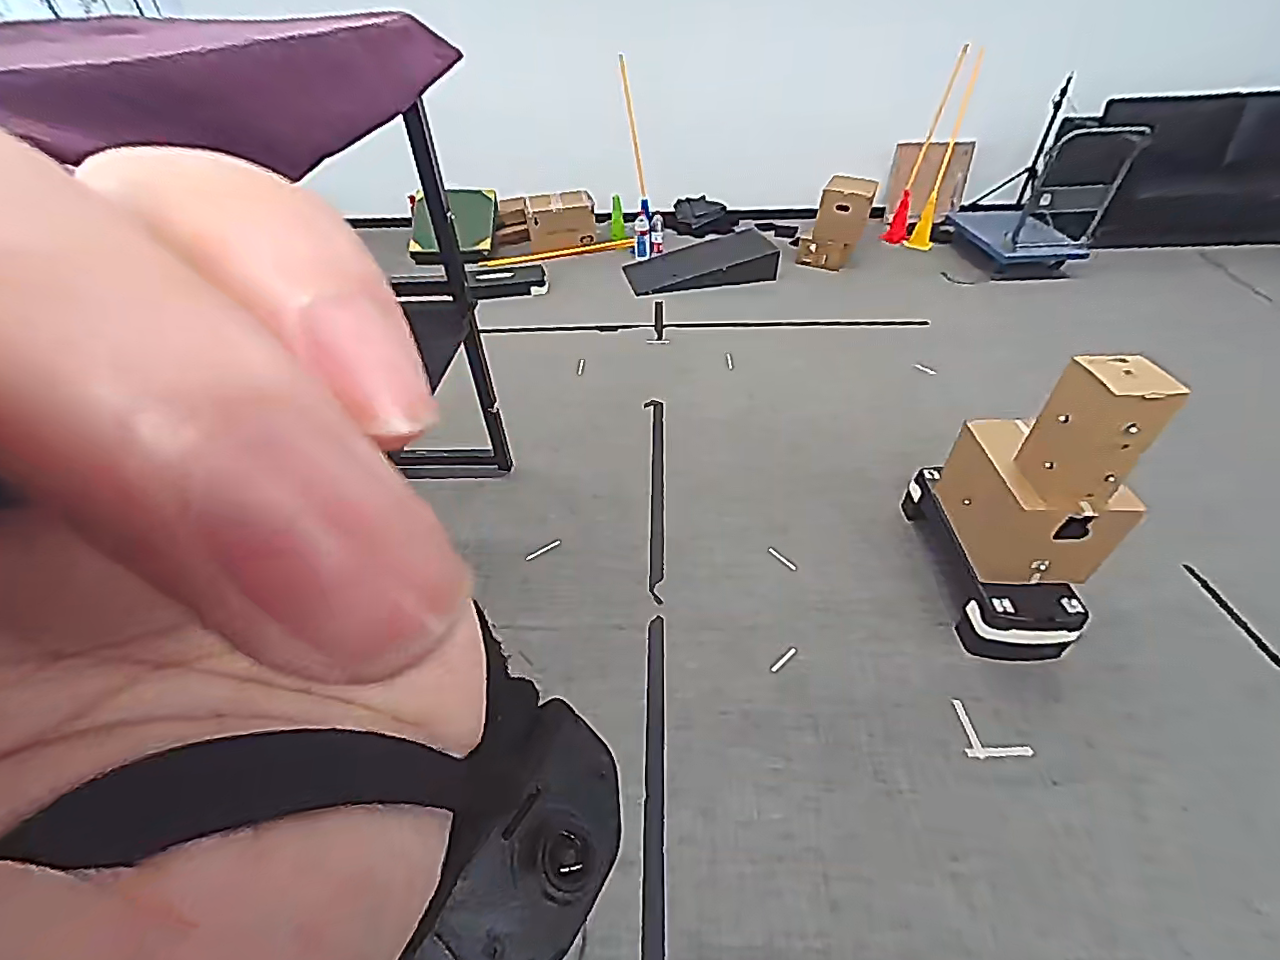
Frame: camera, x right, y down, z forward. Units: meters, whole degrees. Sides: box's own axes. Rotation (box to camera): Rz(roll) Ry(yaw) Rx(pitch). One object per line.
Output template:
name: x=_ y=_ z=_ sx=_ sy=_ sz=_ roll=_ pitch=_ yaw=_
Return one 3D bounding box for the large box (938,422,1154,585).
large box: x=1.170 y=0.068 z=1.625 sx=0.320 sy=0.320 sz=0.408 roll=1 pitch=41 yaw=2

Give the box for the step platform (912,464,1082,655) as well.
step platform: x=1.153 y=0.225 z=1.807 sx=0.286 sy=0.204 sz=0.684 roll=4 pitch=42 yaw=7

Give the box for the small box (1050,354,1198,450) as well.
small box: x=1.145 y=-0.185 z=1.297 sx=0.168 sy=0.176 sz=0.179 roll=0 pitch=43 yaw=2

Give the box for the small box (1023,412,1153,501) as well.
small box: x=1.148 y=-0.061 z=1.404 sx=0.168 sy=0.176 sz=0.179 roll=0 pitch=41 yaw=3
